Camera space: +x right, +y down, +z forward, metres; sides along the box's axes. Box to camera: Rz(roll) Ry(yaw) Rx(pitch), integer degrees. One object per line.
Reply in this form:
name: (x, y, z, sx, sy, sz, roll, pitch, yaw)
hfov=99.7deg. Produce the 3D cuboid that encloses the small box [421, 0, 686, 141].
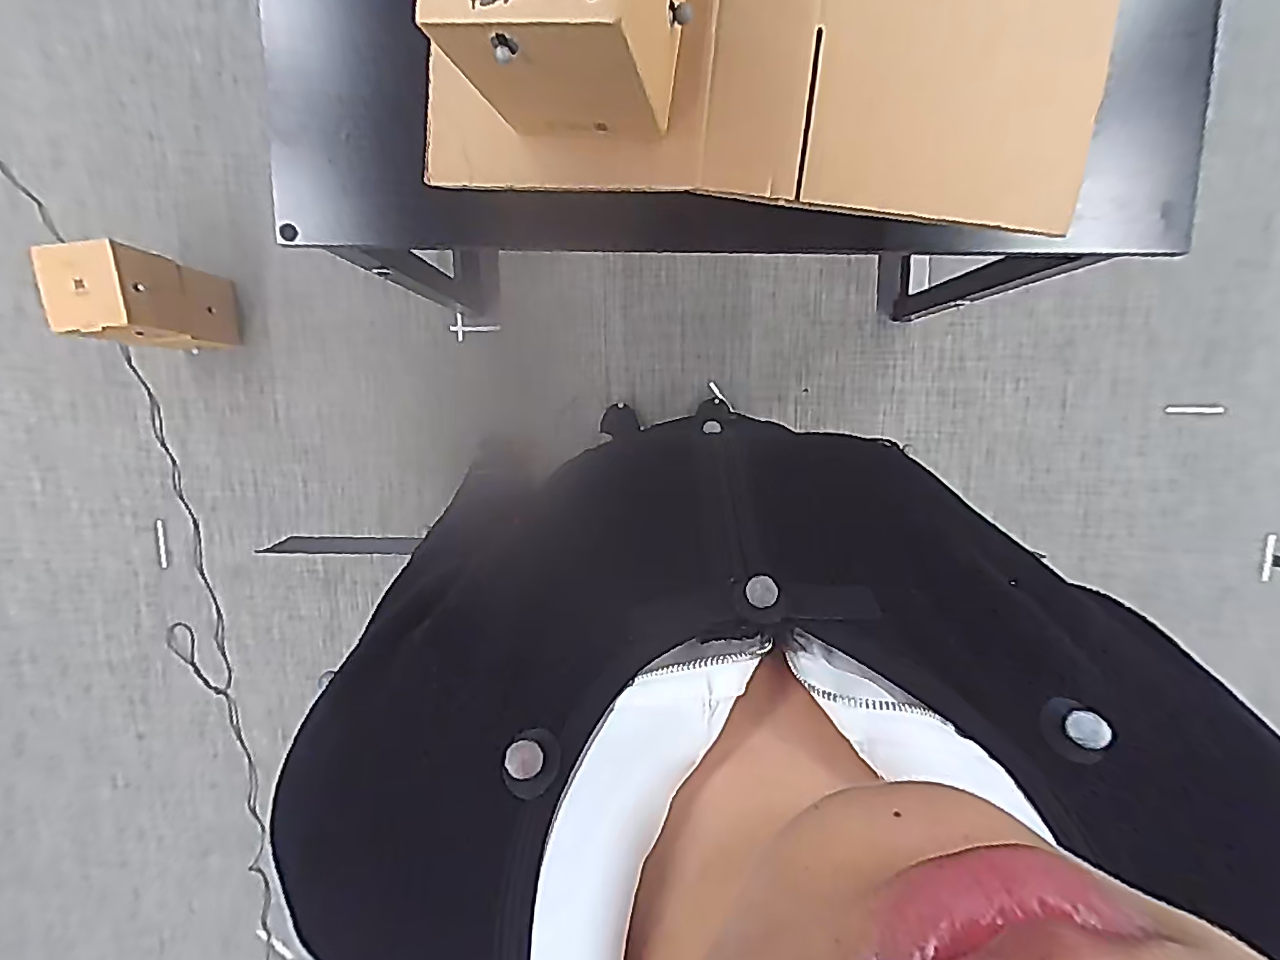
small box: (-0.058, -0.429, 0.463, 0.168, 0.176, 0.179, 10, 98, 12)

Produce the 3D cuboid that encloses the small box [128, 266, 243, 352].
small box: (-1.149, -0.424, 1.361, 0.168, 0.176, 0.179, -4, 98, 1)

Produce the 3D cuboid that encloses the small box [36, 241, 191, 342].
small box: (-1.151, -0.408, 1.200, 0.168, 0.176, 0.179, -7, 97, 0)
